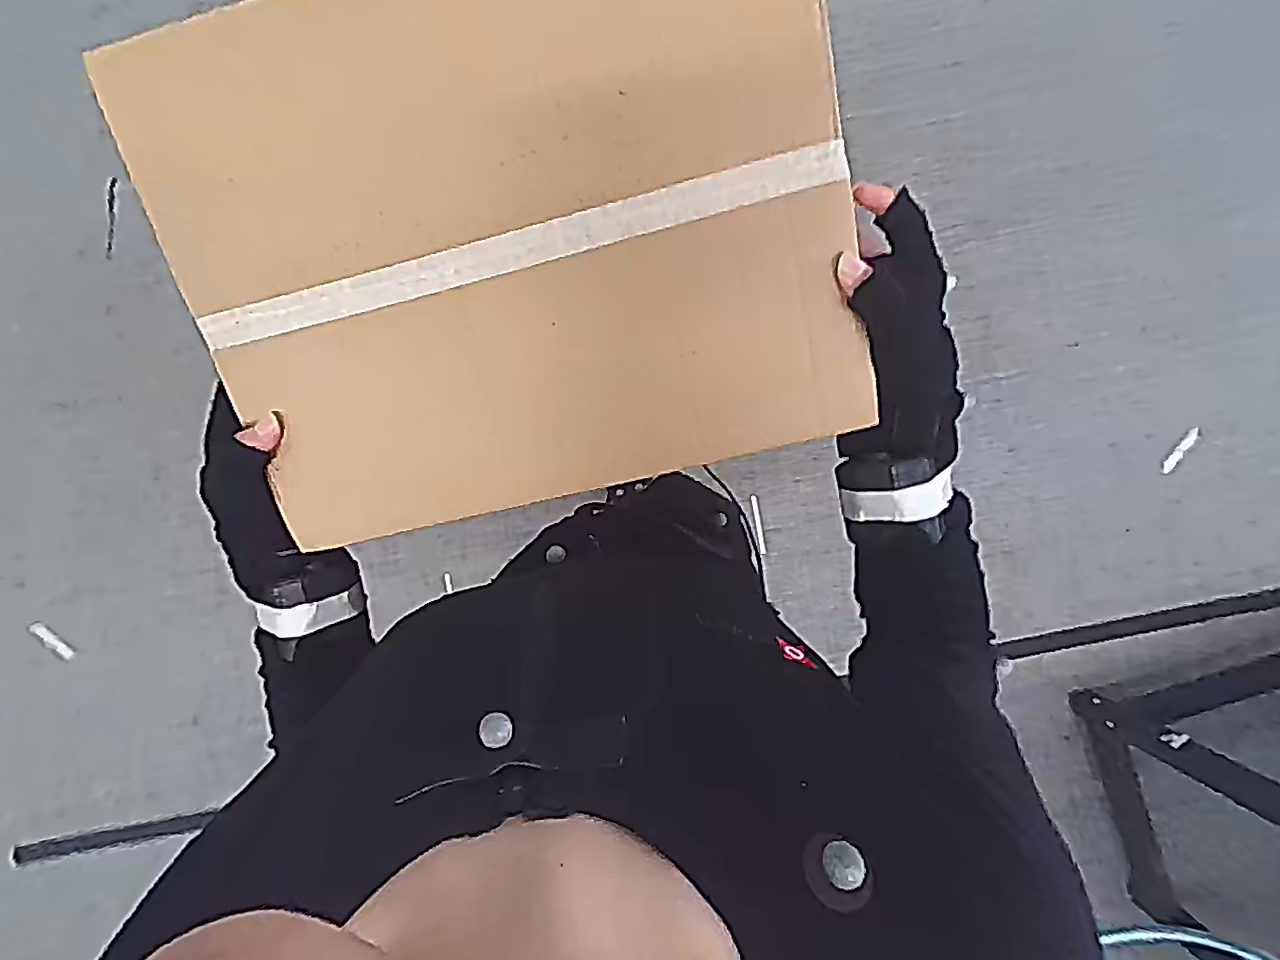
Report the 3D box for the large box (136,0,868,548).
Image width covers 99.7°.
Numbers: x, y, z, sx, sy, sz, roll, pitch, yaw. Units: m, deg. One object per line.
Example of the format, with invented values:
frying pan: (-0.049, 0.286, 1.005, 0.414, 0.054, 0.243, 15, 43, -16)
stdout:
large box: (-0.068, -0.176, 0.482, 0.408, 0.320, 0.320, -12, 104, 6)
